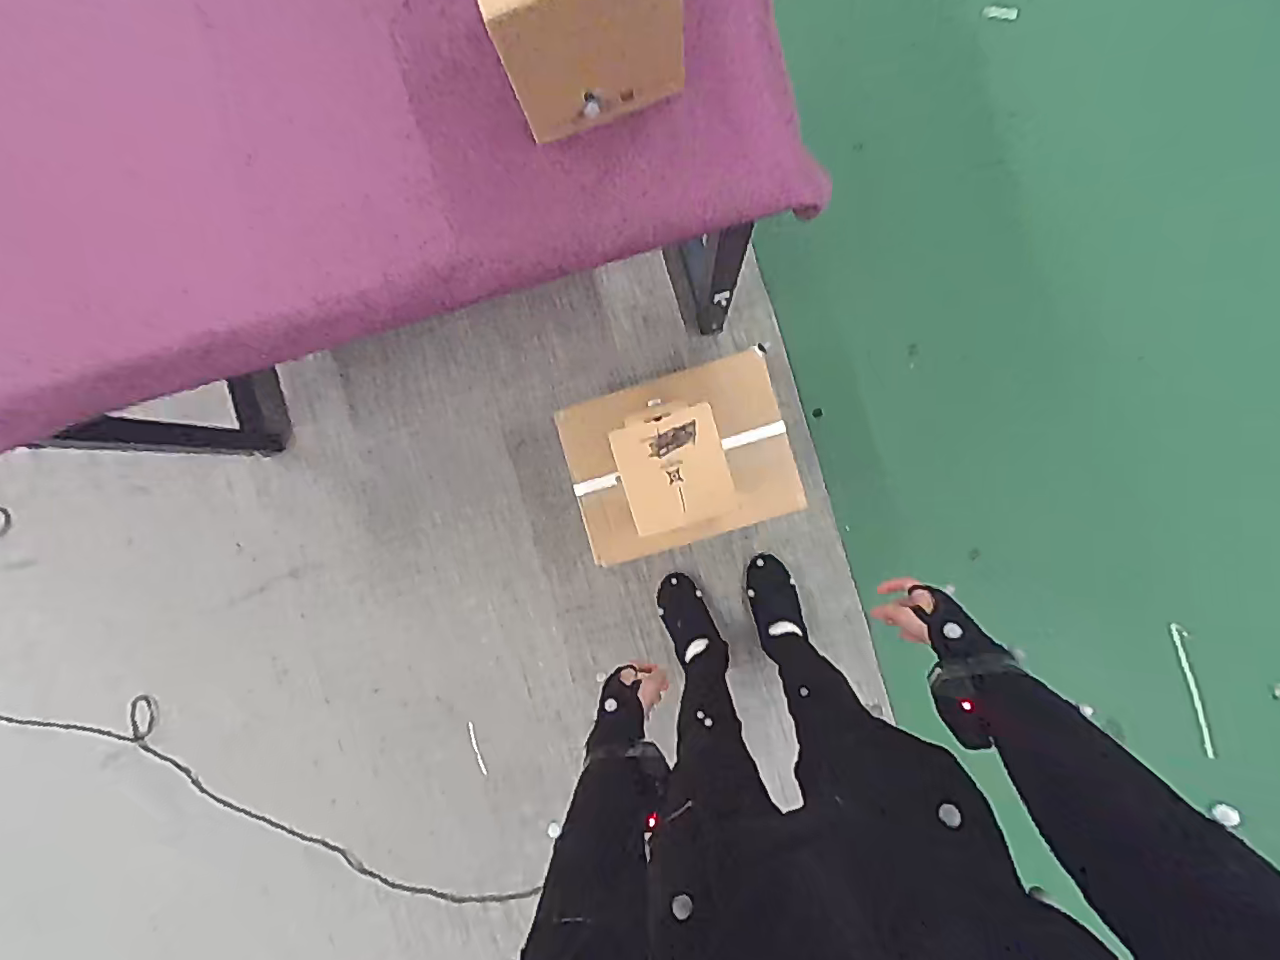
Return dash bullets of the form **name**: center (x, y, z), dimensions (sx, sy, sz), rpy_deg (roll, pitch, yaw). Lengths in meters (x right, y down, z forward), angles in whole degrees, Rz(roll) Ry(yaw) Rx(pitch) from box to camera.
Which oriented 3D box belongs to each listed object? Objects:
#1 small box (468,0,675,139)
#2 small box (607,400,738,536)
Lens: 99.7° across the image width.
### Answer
- **small box**: center (-0.071, -0.463, 0.490), dimensions (0.168, 0.176, 0.179), rpy_deg (-19, 88, 5)
- **small box**: center (0.052, -0.020, 0.903), dimensions (0.168, 0.176, 0.179), rpy_deg (-17, 92, 4)
